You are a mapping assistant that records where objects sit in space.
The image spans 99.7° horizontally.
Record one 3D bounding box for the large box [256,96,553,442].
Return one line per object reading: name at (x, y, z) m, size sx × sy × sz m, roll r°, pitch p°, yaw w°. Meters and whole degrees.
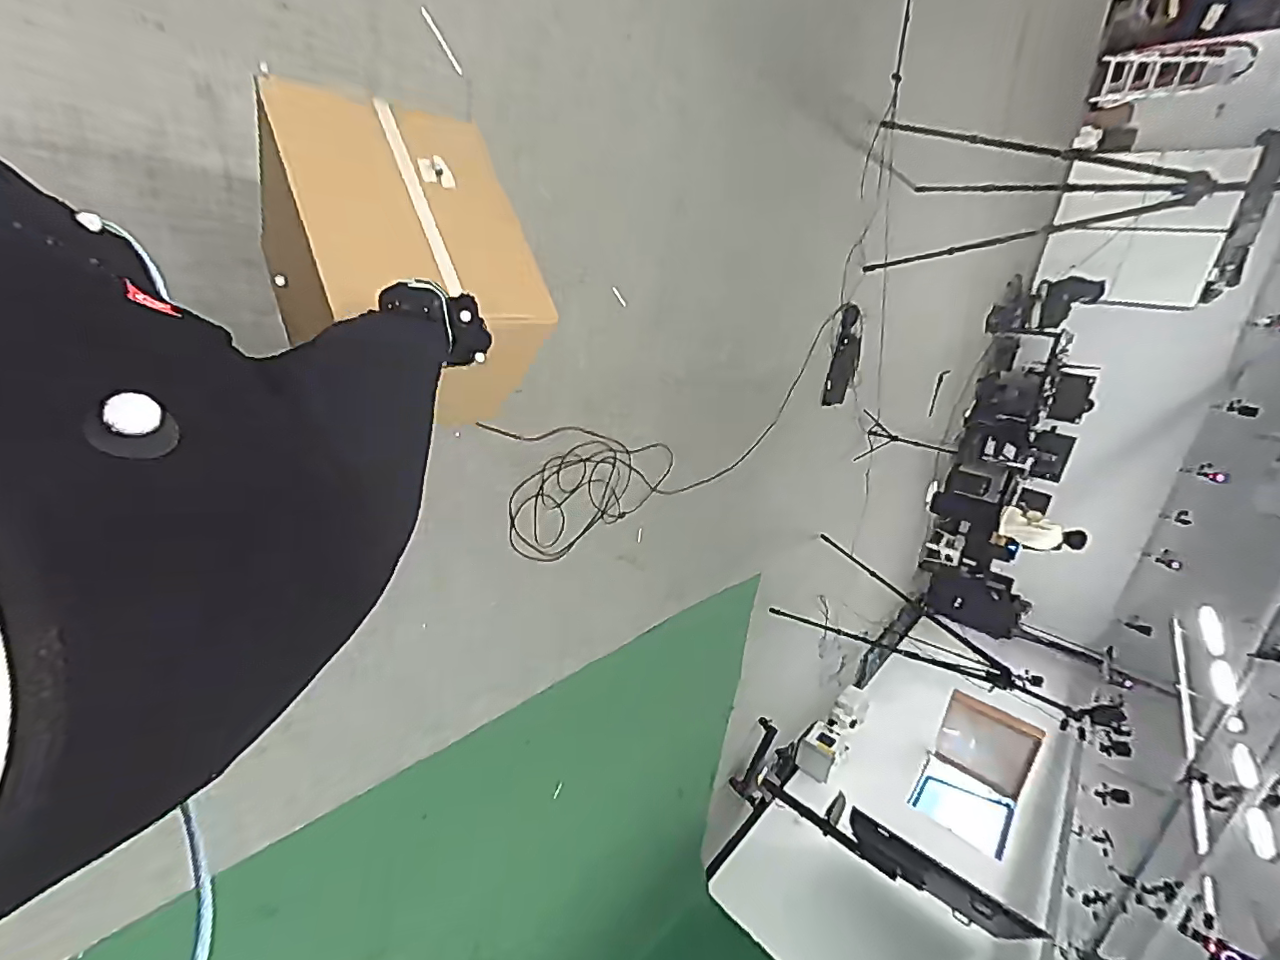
large box at (-0.404, -0.326, 0.907) m, size 0.320 × 0.408 × 0.320 m, roll -14°, pitch 162°, yaw -39°
